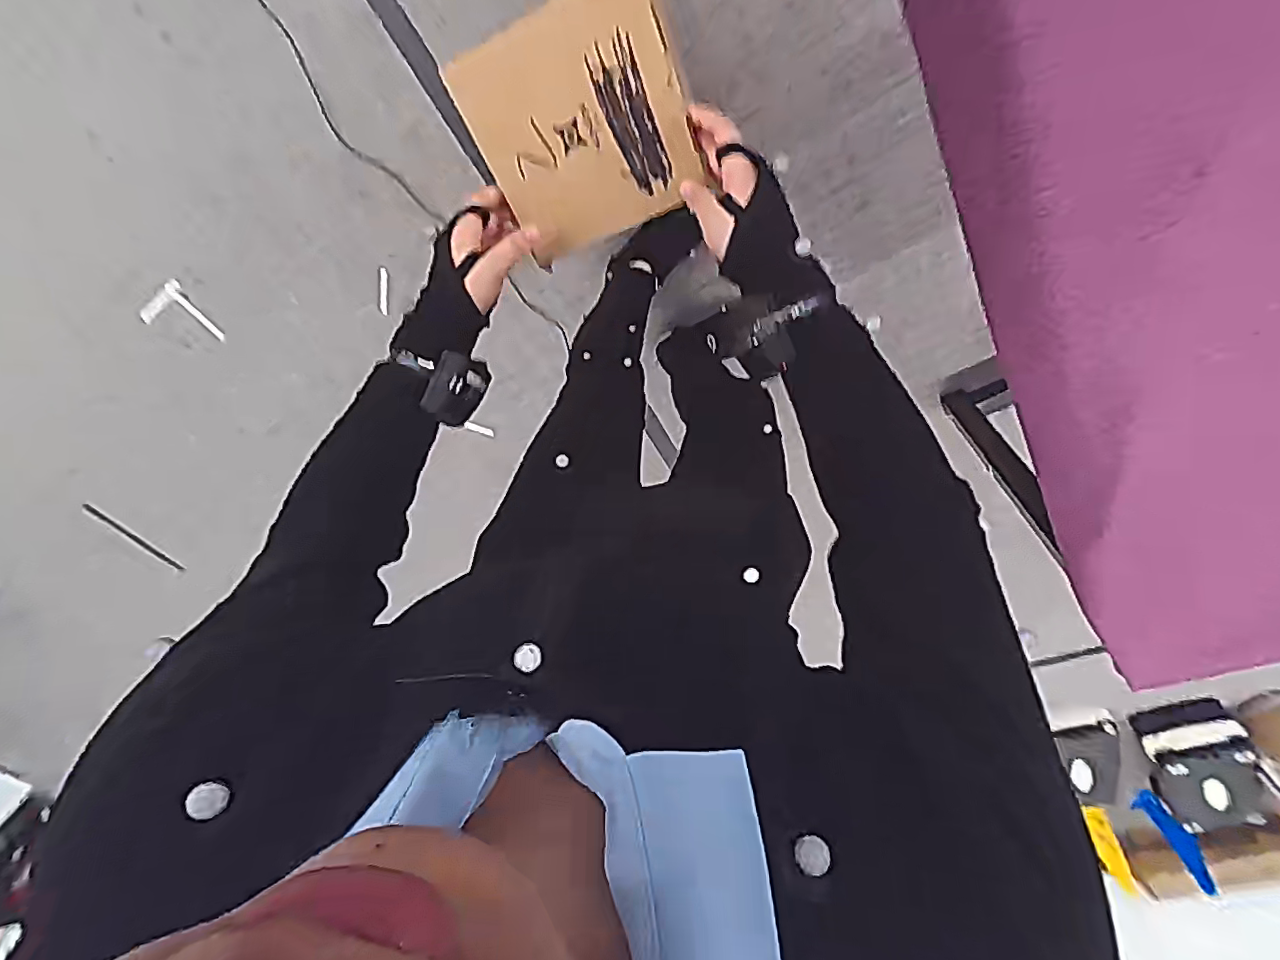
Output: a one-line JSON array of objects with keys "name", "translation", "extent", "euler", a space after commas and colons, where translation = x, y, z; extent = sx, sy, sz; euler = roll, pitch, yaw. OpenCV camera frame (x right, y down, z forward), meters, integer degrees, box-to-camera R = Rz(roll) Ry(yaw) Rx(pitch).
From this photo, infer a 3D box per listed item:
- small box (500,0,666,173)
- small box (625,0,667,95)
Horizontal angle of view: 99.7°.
[{"name": "small box", "translation": [-0.073, -0.596, 0.802], "extent": [0.179, 0.176, 0.168], "euler": [-22, 122, 21]}, {"name": "small box", "translation": [-0.063, -0.703, 0.927], "extent": [0.179, 0.176, 0.168], "euler": [-18, 124, 18]}]
